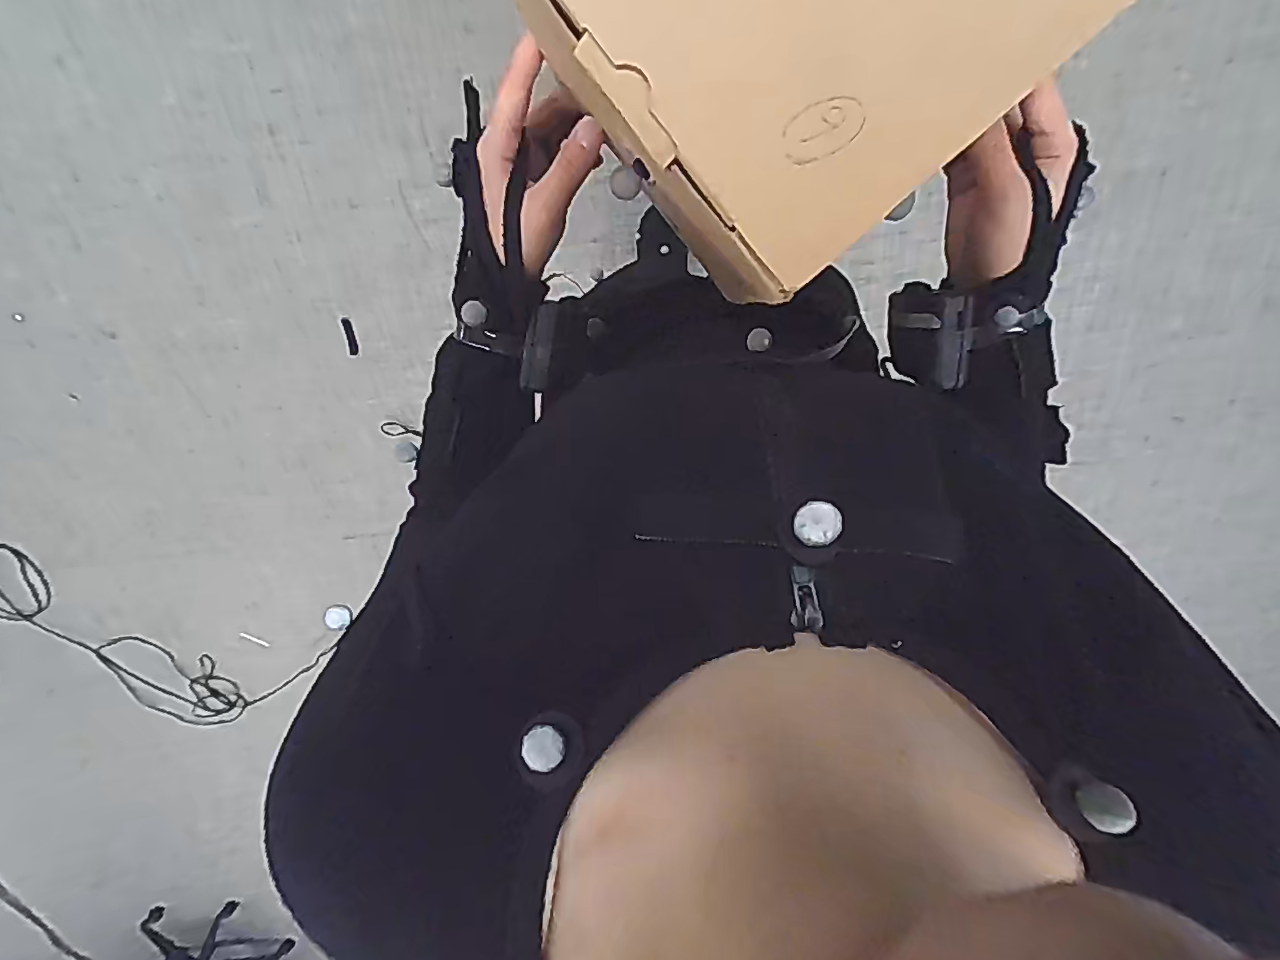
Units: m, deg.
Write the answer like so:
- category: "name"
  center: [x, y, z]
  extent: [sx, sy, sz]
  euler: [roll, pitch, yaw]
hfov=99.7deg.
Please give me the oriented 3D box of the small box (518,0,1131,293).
- category: "small box"
  center: [0.064, -0.197, 0.228]
  extent: [0.179, 0.176, 0.168]
  euler: [-39, 101, 15]
